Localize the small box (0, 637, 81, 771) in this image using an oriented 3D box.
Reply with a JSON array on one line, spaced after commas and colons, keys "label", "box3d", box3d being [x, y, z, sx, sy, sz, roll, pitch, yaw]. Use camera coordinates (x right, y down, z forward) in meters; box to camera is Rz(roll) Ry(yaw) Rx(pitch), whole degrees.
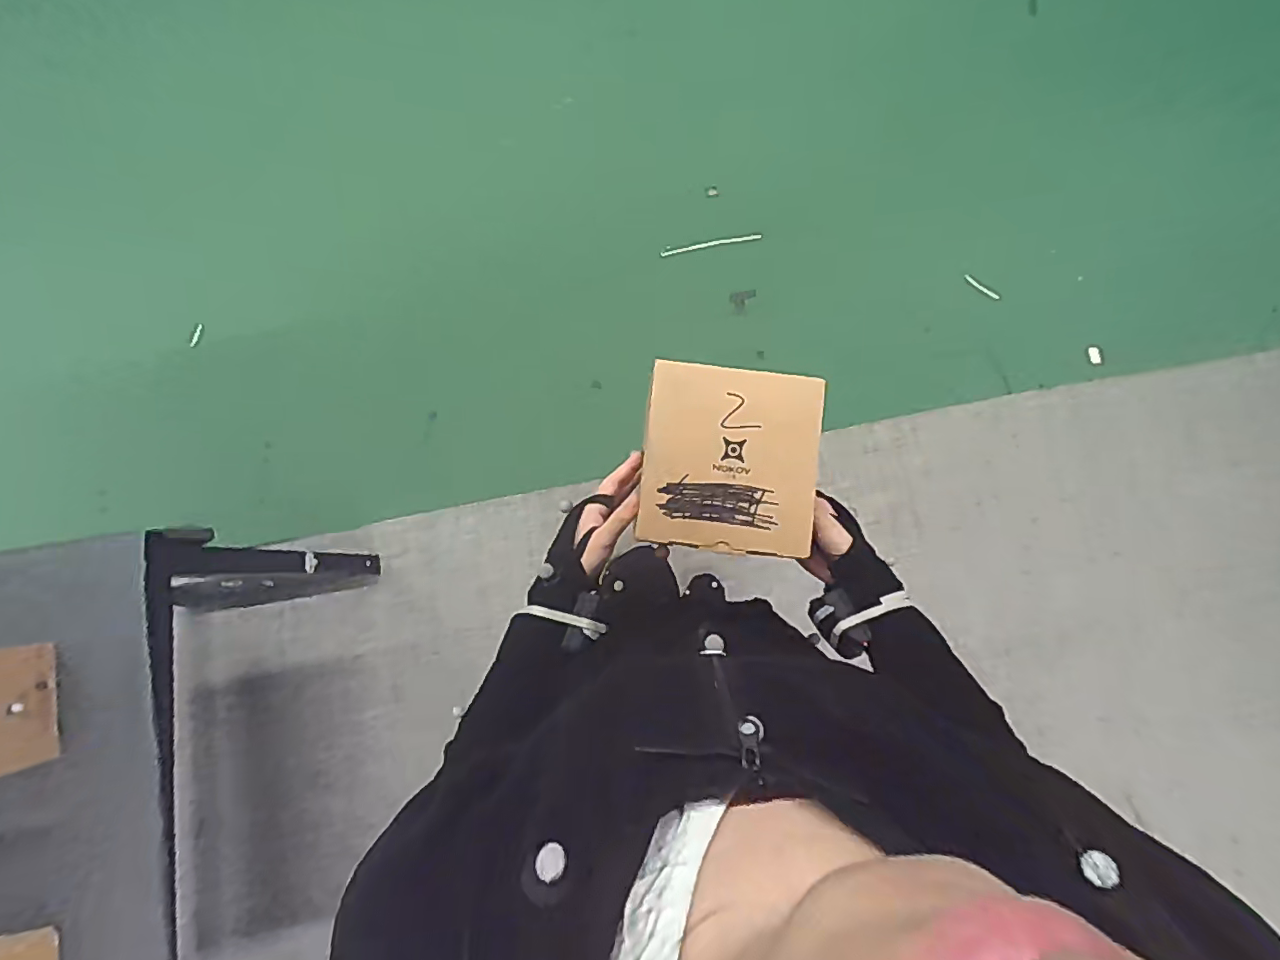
[{"label": "small box", "box3d": [-0.925, 0.318, 0.730, 0.179, 0.176, 0.168, -12, 81, 2]}]
